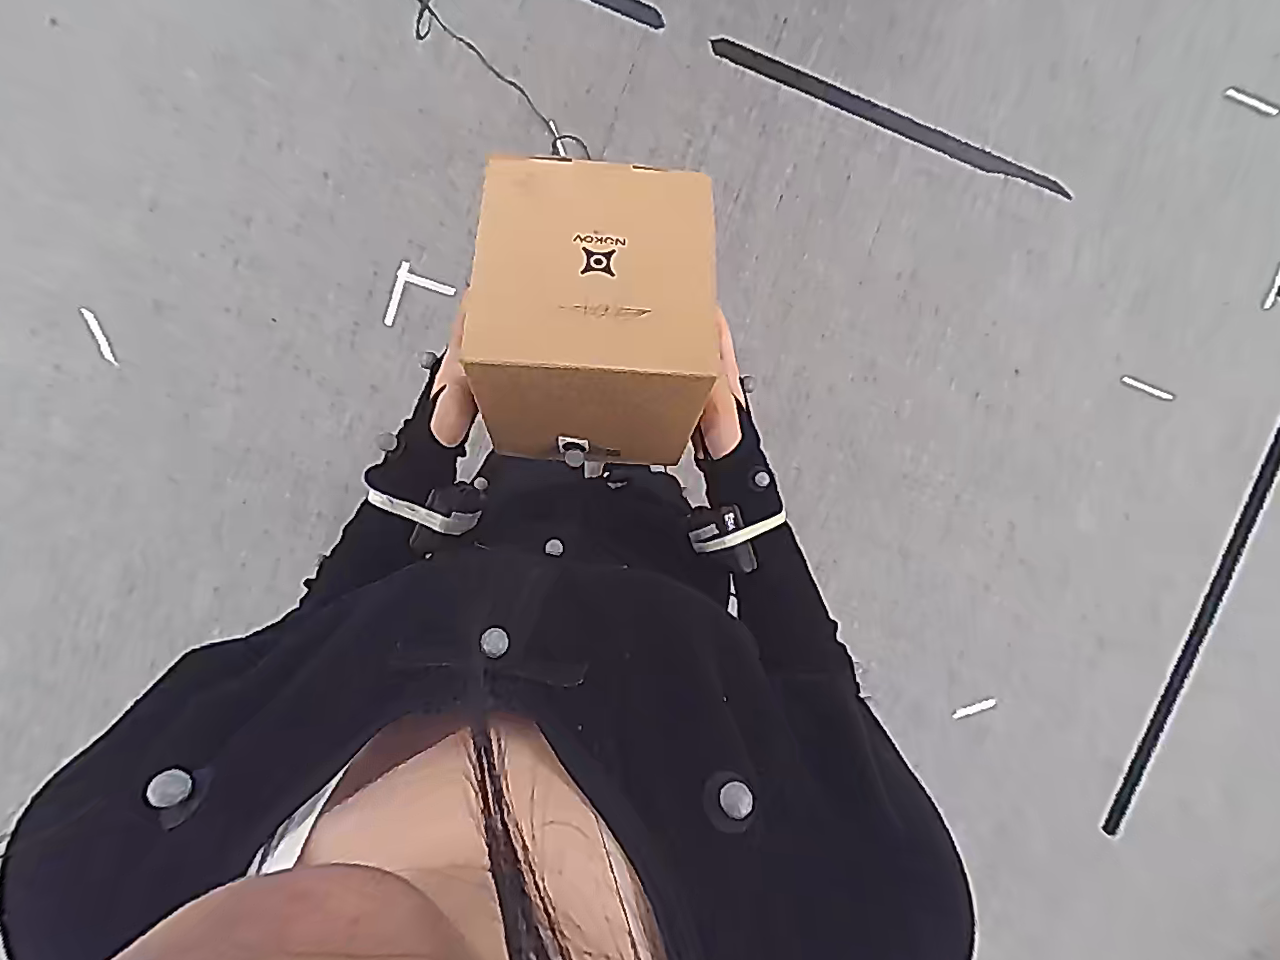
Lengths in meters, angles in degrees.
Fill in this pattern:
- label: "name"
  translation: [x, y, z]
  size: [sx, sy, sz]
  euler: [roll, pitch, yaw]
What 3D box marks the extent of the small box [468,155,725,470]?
- label: "small box"
  translation: [-0.033, -0.122, 0.443]
  size: [0.168, 0.176, 0.179]
  euler: [2, 71, -5]
